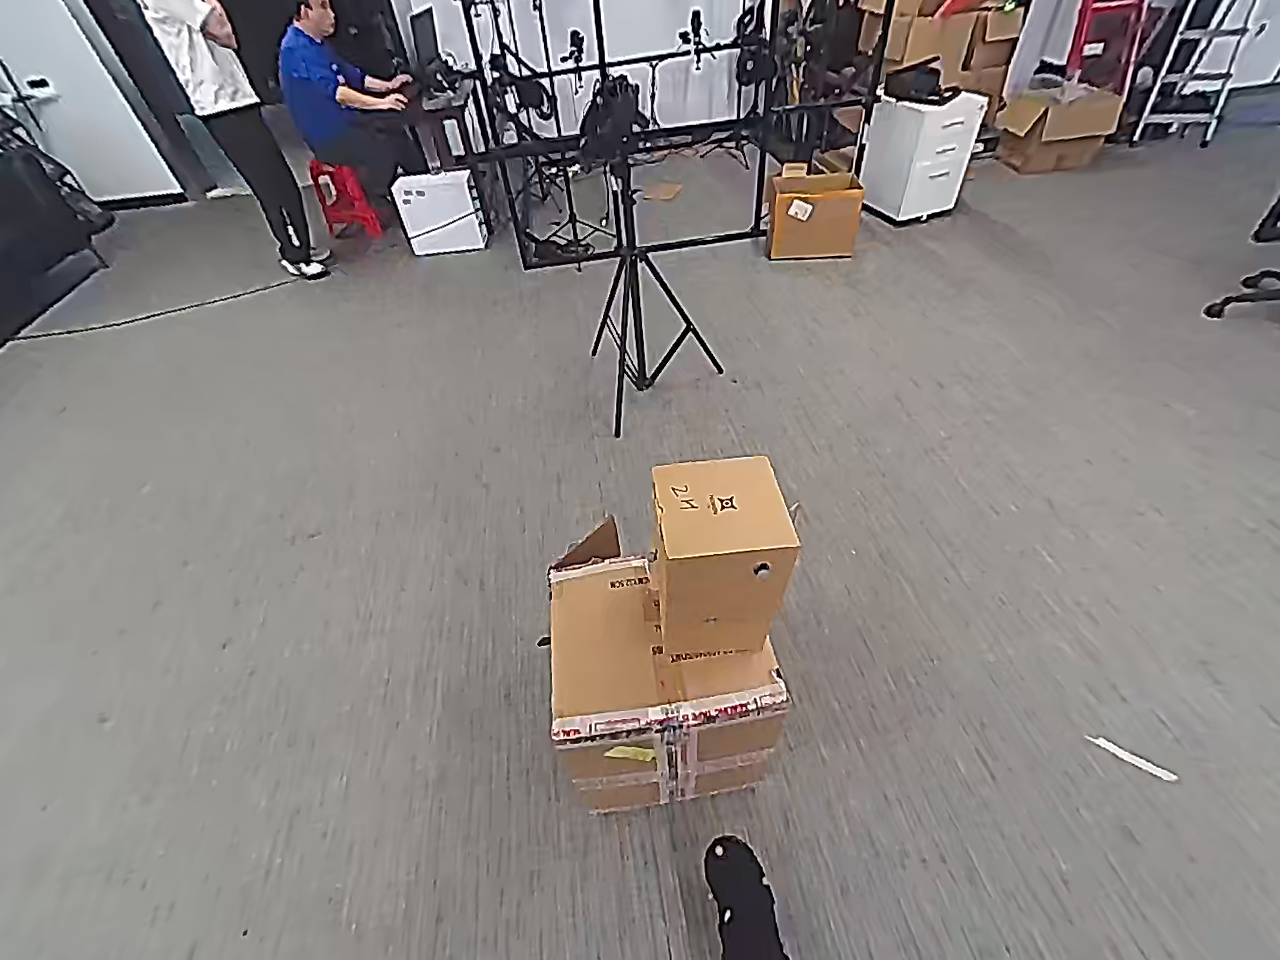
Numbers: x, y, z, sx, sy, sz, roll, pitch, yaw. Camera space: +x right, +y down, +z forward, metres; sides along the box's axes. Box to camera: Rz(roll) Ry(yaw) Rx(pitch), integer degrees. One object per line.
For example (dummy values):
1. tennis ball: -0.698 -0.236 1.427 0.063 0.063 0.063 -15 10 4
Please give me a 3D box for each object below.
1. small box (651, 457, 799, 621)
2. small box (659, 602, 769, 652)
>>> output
1. small box: 0.110 0.089 0.789 0.179 0.176 0.168 -6 47 -2
2. small box: 0.119 0.183 0.926 0.179 0.176 0.168 -3 47 -1
